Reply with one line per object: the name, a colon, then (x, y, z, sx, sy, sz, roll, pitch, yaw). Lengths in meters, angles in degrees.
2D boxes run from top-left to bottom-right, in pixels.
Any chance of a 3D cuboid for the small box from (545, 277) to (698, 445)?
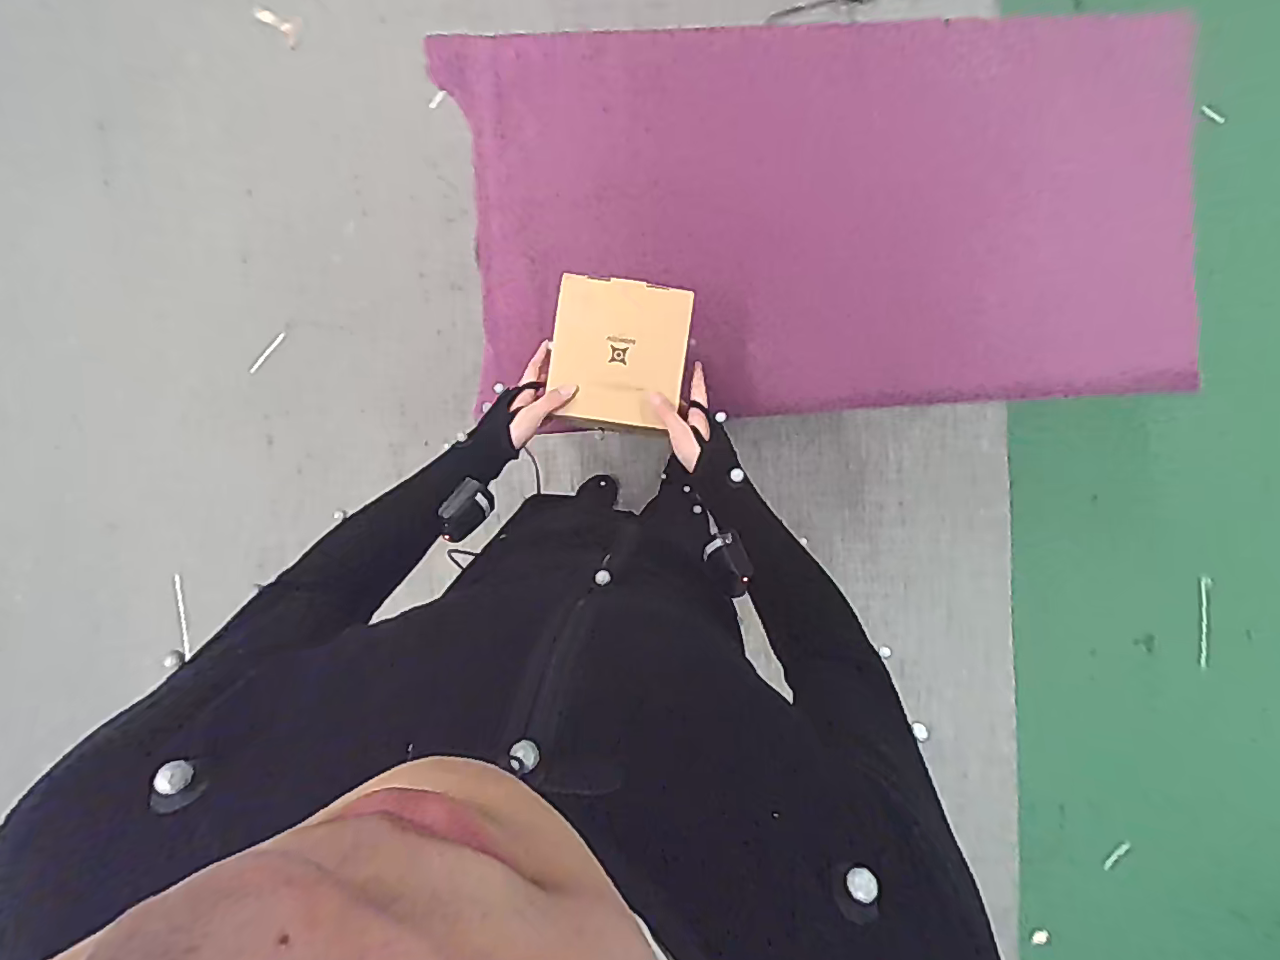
small box: (-0.024, -0.150, 0.738, 0.168, 0.176, 0.179, 9, 90, 0)
